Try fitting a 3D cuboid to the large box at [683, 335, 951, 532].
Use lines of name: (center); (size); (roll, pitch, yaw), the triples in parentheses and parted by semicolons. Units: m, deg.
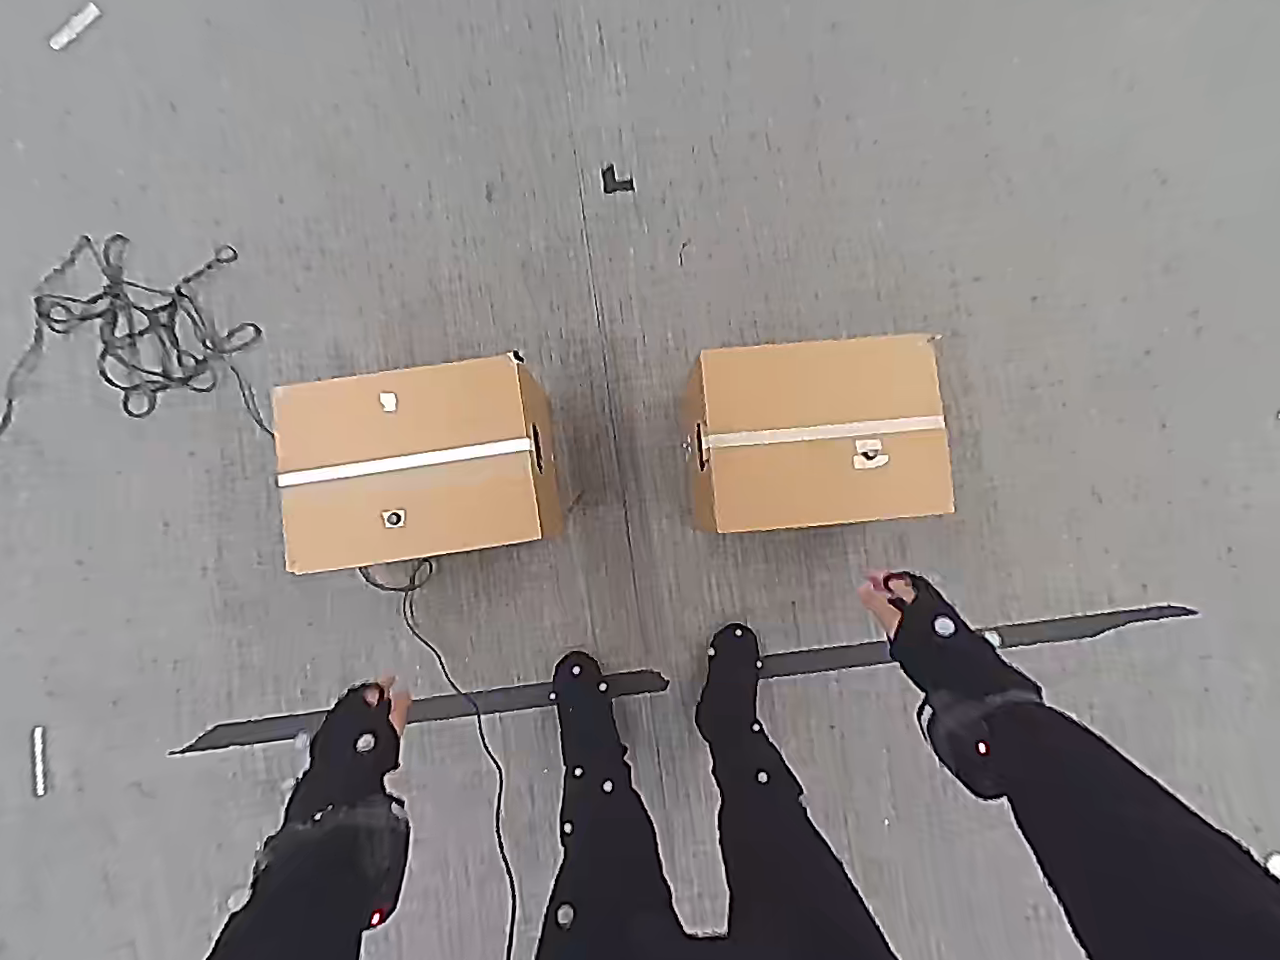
large box: (0.311, -0.071, 1.065); (0.408, 0.320, 0.320); (-4, 86, -2)
